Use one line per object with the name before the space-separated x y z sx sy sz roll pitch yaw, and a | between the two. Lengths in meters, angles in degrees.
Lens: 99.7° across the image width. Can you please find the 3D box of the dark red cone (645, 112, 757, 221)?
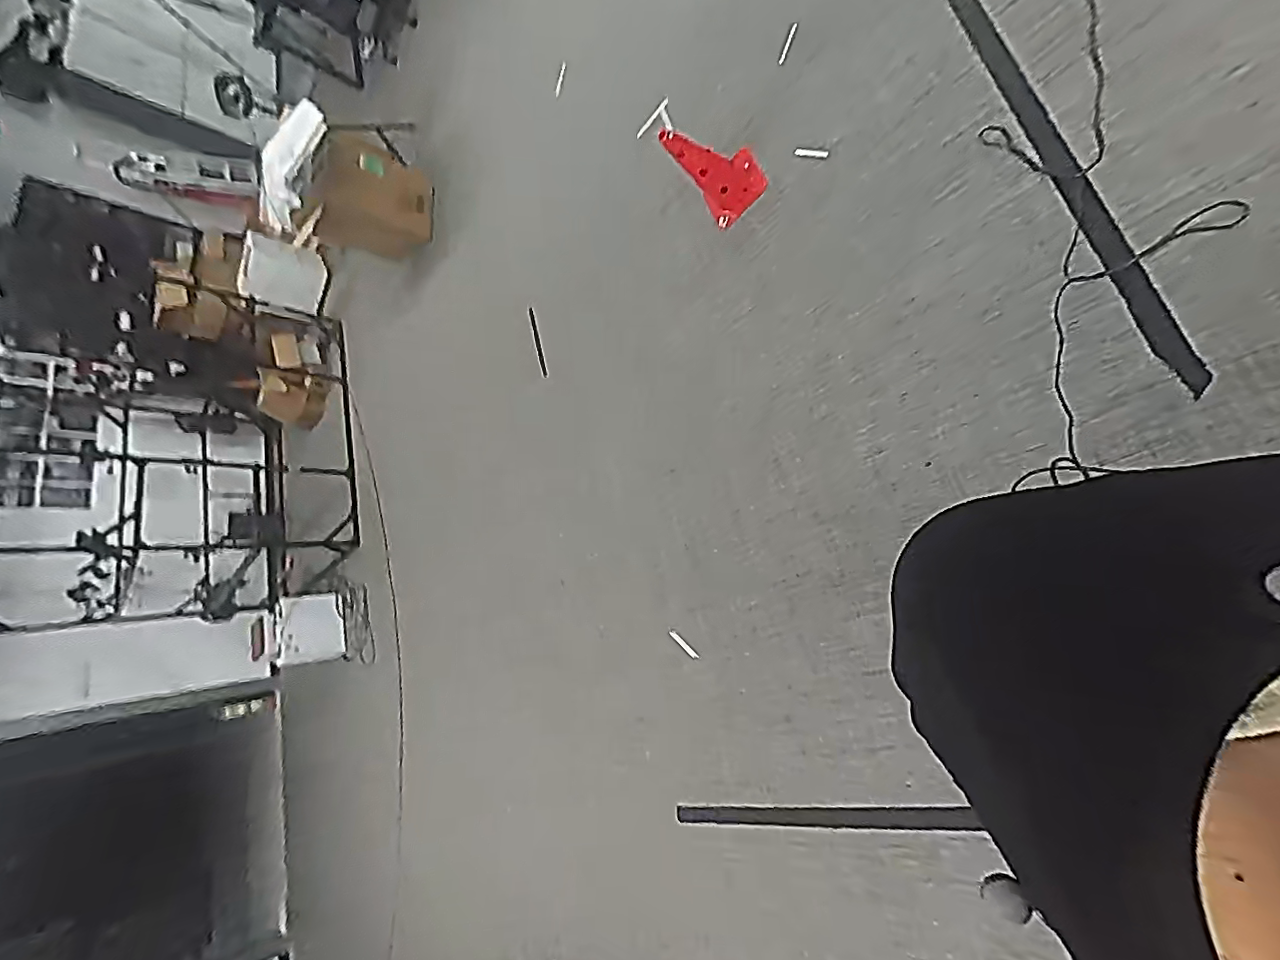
dark red cone | 0.162 -0.979 1.632 0.201 0.394 0.202 -37 62 35
